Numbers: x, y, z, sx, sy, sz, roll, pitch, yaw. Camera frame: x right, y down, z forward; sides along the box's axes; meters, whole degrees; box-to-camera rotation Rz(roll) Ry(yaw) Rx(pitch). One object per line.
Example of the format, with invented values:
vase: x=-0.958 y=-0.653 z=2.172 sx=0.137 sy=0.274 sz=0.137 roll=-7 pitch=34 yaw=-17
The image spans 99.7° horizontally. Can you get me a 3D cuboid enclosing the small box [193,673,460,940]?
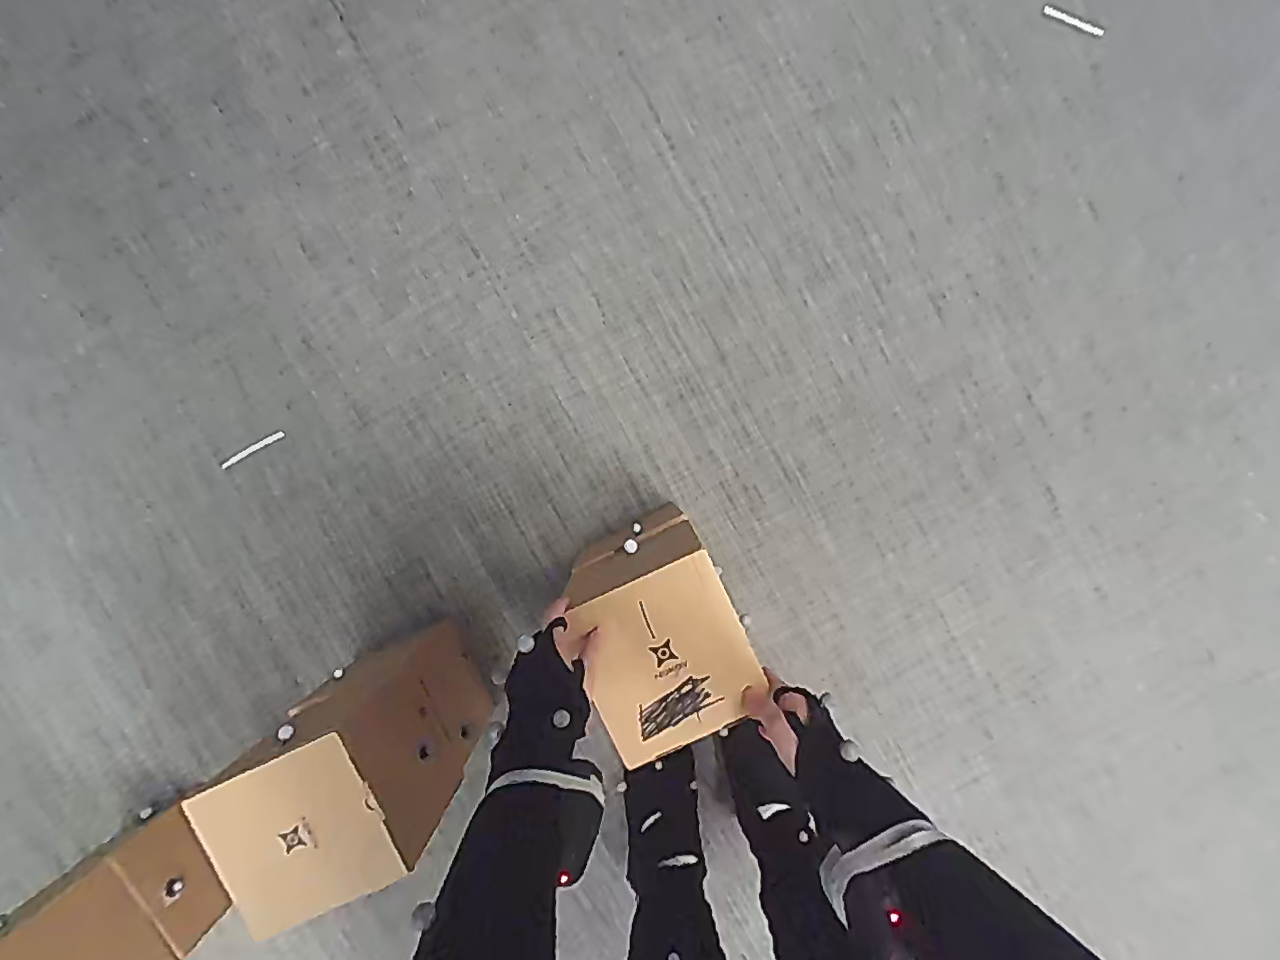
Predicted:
small box: x=-0.341 y=0.358 z=0.626 sx=0.179 sy=0.176 sz=0.168 roll=-26 pitch=92 yaw=1

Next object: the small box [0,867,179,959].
small box: x=-0.711 y=0.620 z=0.637 sx=0.168 sy=0.176 sz=0.179 roll=-32 pitch=92 yaw=0

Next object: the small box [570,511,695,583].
small box: x=0.019 y=0.161 z=0.782 sx=0.168 sy=0.176 sz=0.179 roll=-27 pitch=93 yaw=1

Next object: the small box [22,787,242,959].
small box: x=-0.712 y=0.608 z=0.801 sx=0.168 sy=0.176 sz=0.179 roll=-31 pitch=92 yaw=1

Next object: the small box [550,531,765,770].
small box: x=0.020 y=0.177 z=0.615 sx=0.168 sy=0.176 sz=0.179 roll=-25 pitch=93 yaw=2
